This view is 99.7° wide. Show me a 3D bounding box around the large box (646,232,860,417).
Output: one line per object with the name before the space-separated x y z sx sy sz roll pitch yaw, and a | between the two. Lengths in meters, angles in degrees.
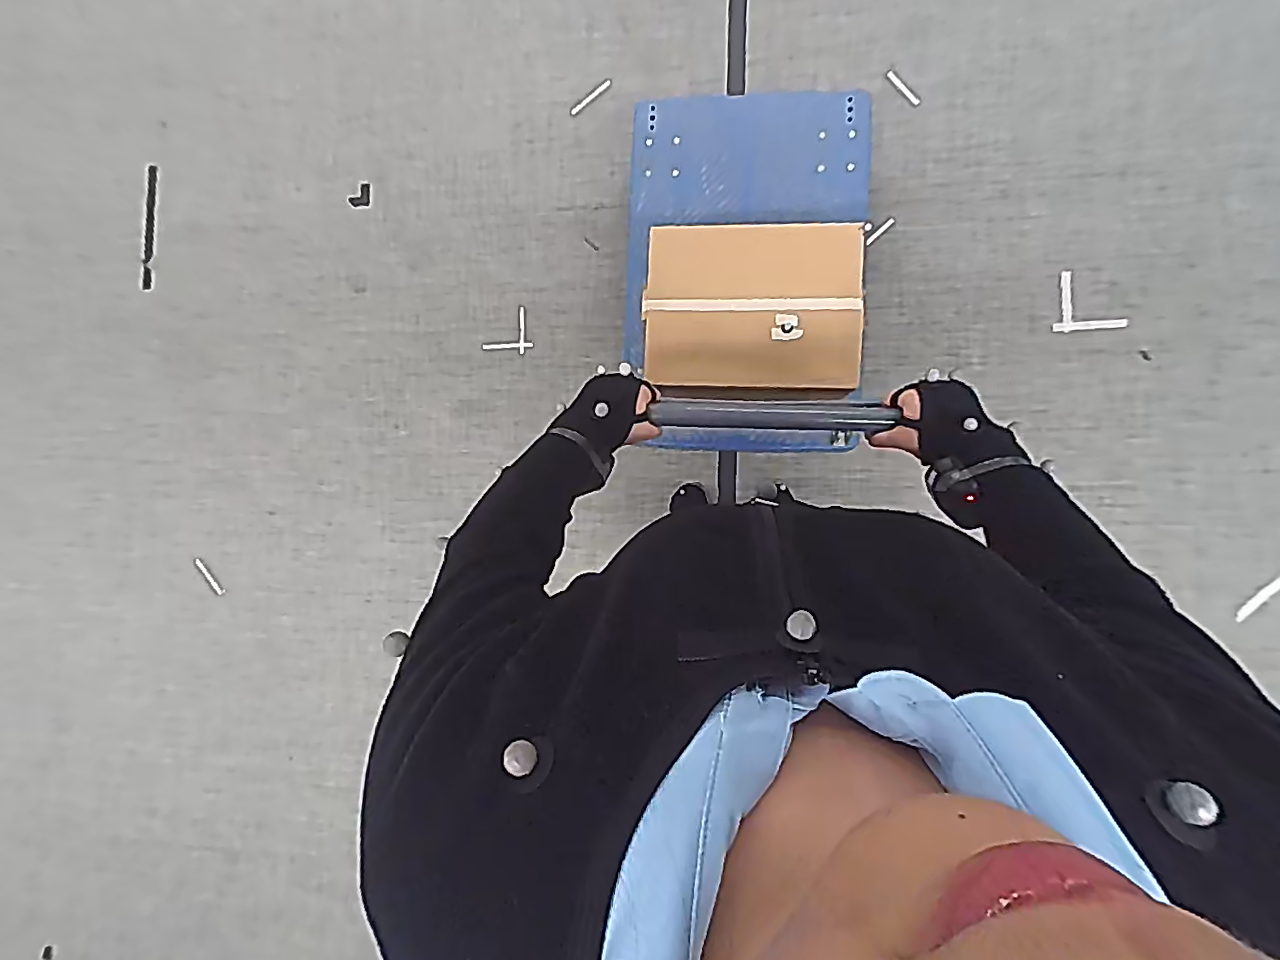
large box | 0.225 -0.311 1.174 0.408 0.320 0.320 2 90 7
